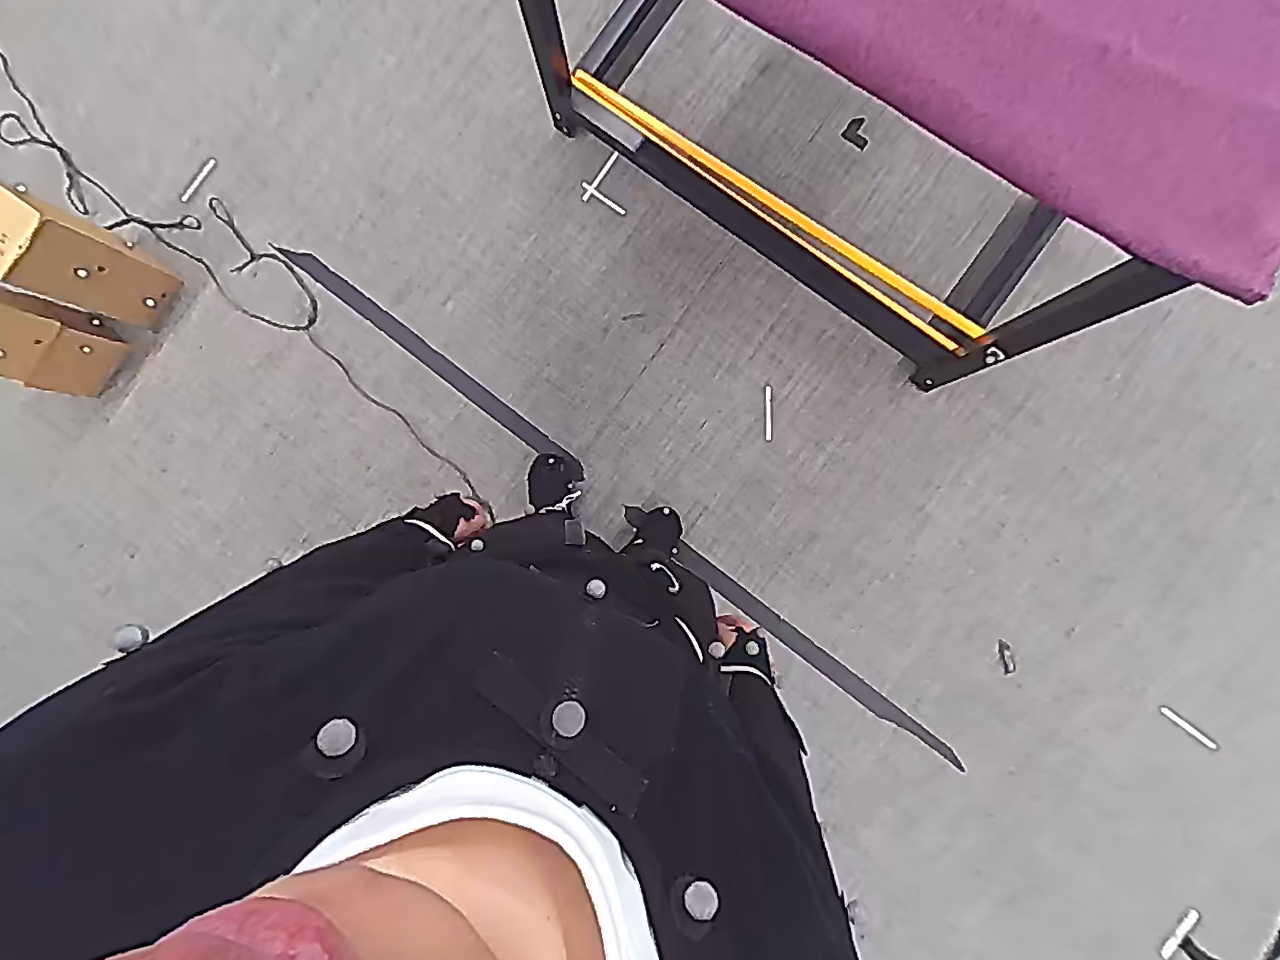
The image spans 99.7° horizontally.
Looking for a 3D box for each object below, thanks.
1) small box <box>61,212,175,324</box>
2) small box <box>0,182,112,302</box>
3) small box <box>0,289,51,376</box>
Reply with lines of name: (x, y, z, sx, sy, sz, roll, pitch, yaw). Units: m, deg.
small box: (-1.338, -0.516, 1.347, 0.179, 0.176, 0.168, 36, 90, 1)
small box: (-1.341, -0.520, 1.182, 0.179, 0.176, 0.168, 35, 90, 1)
small box: (-1.479, -0.344, 1.185, 0.179, 0.176, 0.168, 31, 90, 3)
